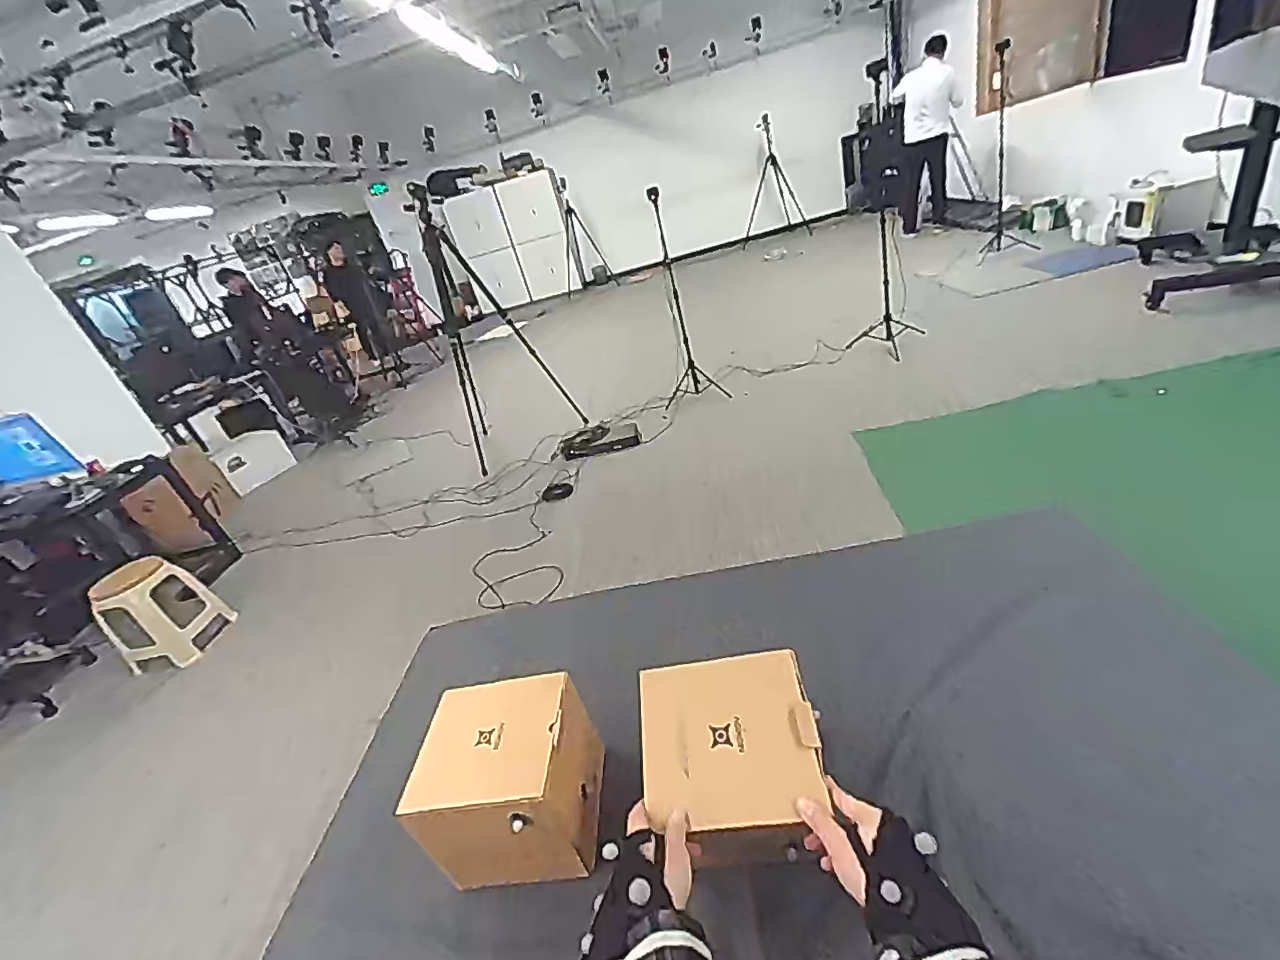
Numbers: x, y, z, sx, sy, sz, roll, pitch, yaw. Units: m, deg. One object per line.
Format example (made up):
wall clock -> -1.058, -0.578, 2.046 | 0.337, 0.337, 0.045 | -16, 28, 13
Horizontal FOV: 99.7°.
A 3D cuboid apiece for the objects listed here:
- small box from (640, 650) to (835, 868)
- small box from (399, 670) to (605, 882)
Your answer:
small box -> 0.107, 0.313, 0.601 | 0.179, 0.176, 0.168 | -13, 44, 10
small box -> -0.158, 0.374, 0.682 | 0.179, 0.176, 0.168 | -12, 28, 8
